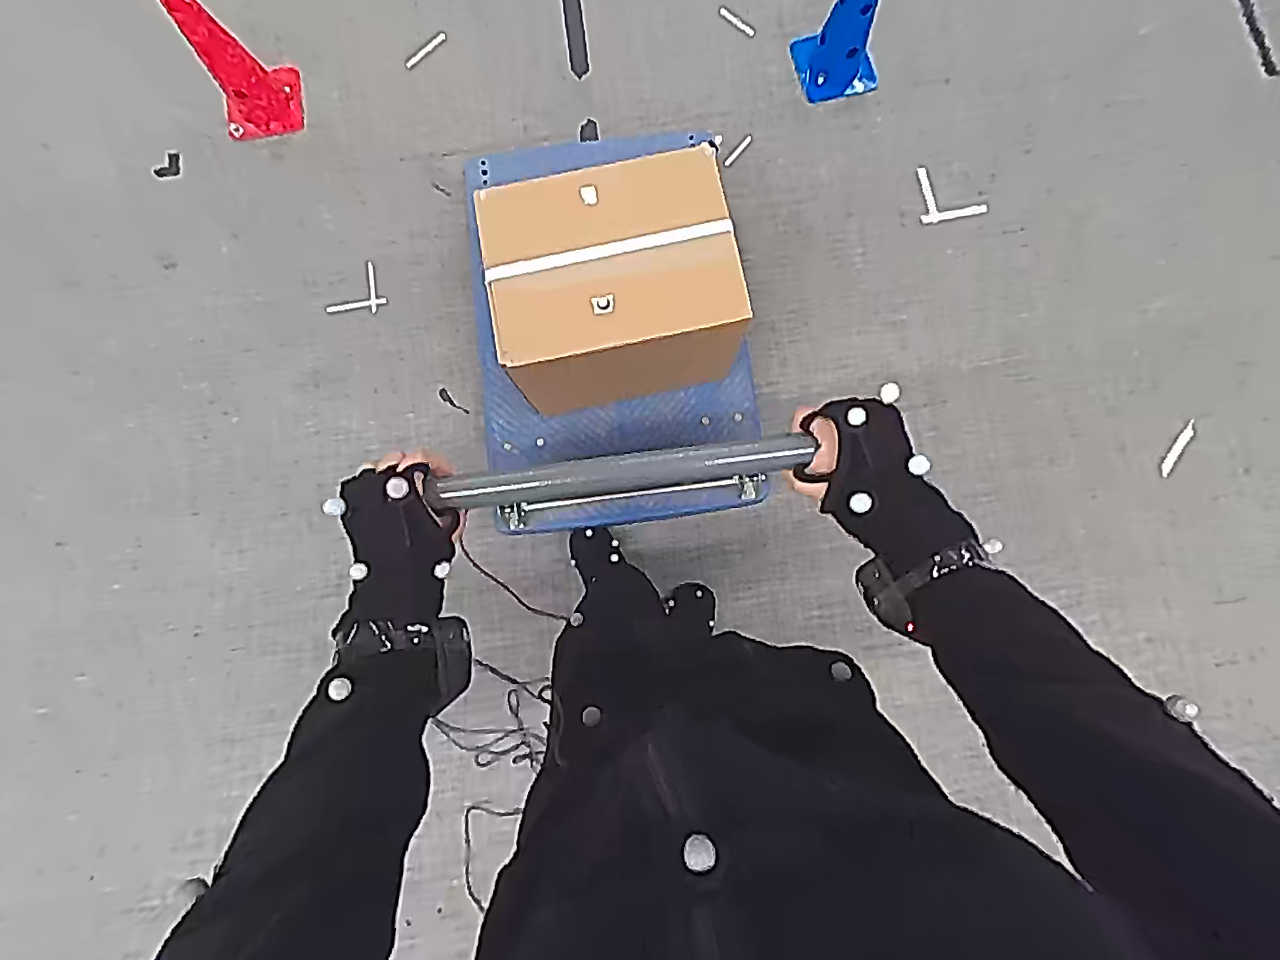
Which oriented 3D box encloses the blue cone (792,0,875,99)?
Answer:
[{"bbox_3d":[0.522,-1.153,1.306,0.193,0.380,0.192,-12,81,-1],"label":"blue cone"}]
